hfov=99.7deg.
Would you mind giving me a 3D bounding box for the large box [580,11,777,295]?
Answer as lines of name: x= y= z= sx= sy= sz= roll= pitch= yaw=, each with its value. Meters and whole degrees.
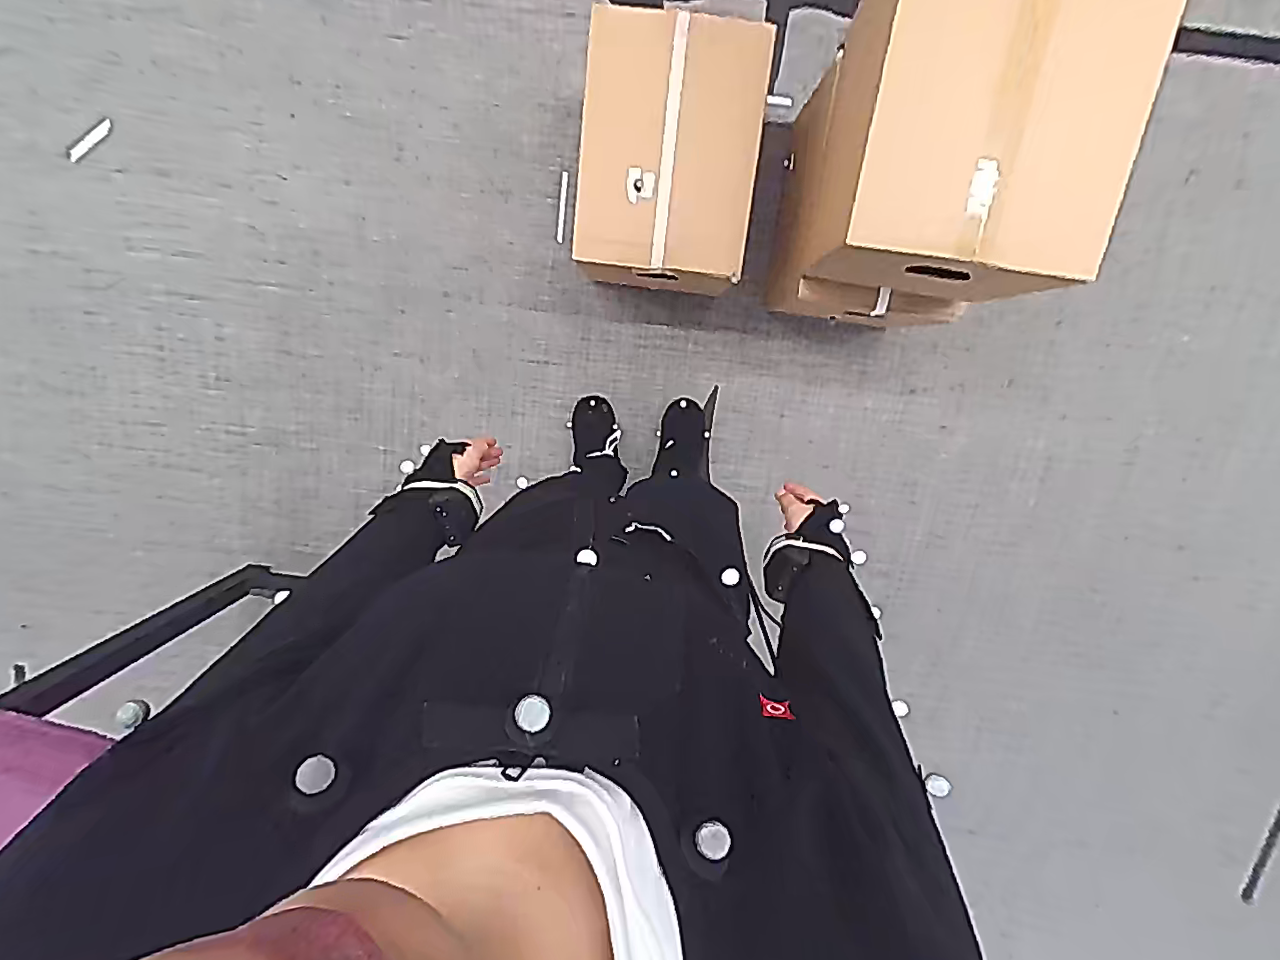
large box: x=0.061 y=-0.606 z=1.082 sx=0.320 sy=0.320 sz=0.408 roll=6 pitch=104 yaw=0
